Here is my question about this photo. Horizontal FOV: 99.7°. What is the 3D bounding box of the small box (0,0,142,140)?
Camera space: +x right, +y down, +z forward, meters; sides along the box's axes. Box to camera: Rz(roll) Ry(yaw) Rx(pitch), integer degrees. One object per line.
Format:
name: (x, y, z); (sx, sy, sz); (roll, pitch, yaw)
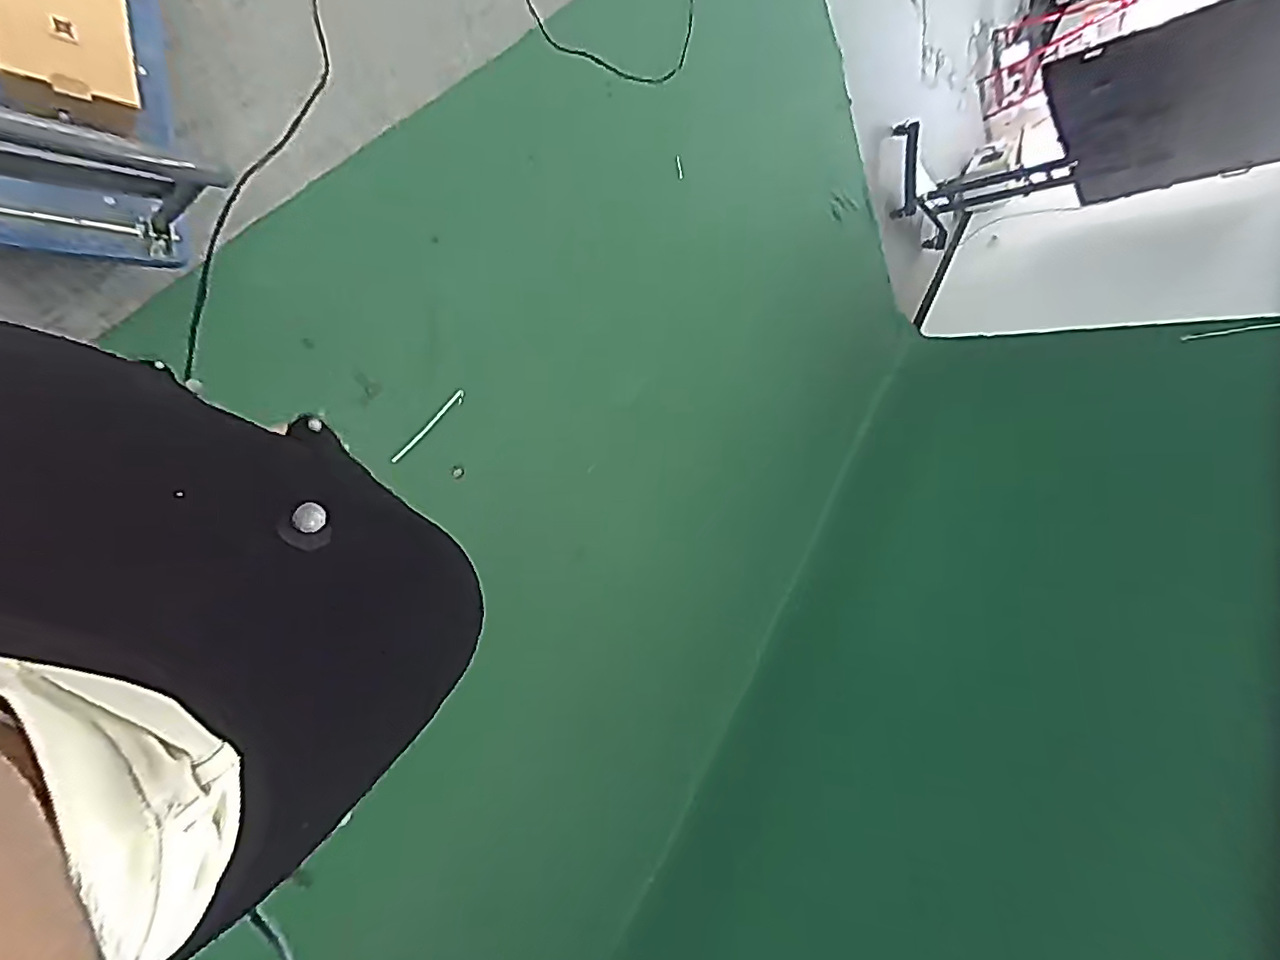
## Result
small box: (-0.977, -0.720, 0.919); (0.168, 0.176, 0.179); (-11, 104, -45)
